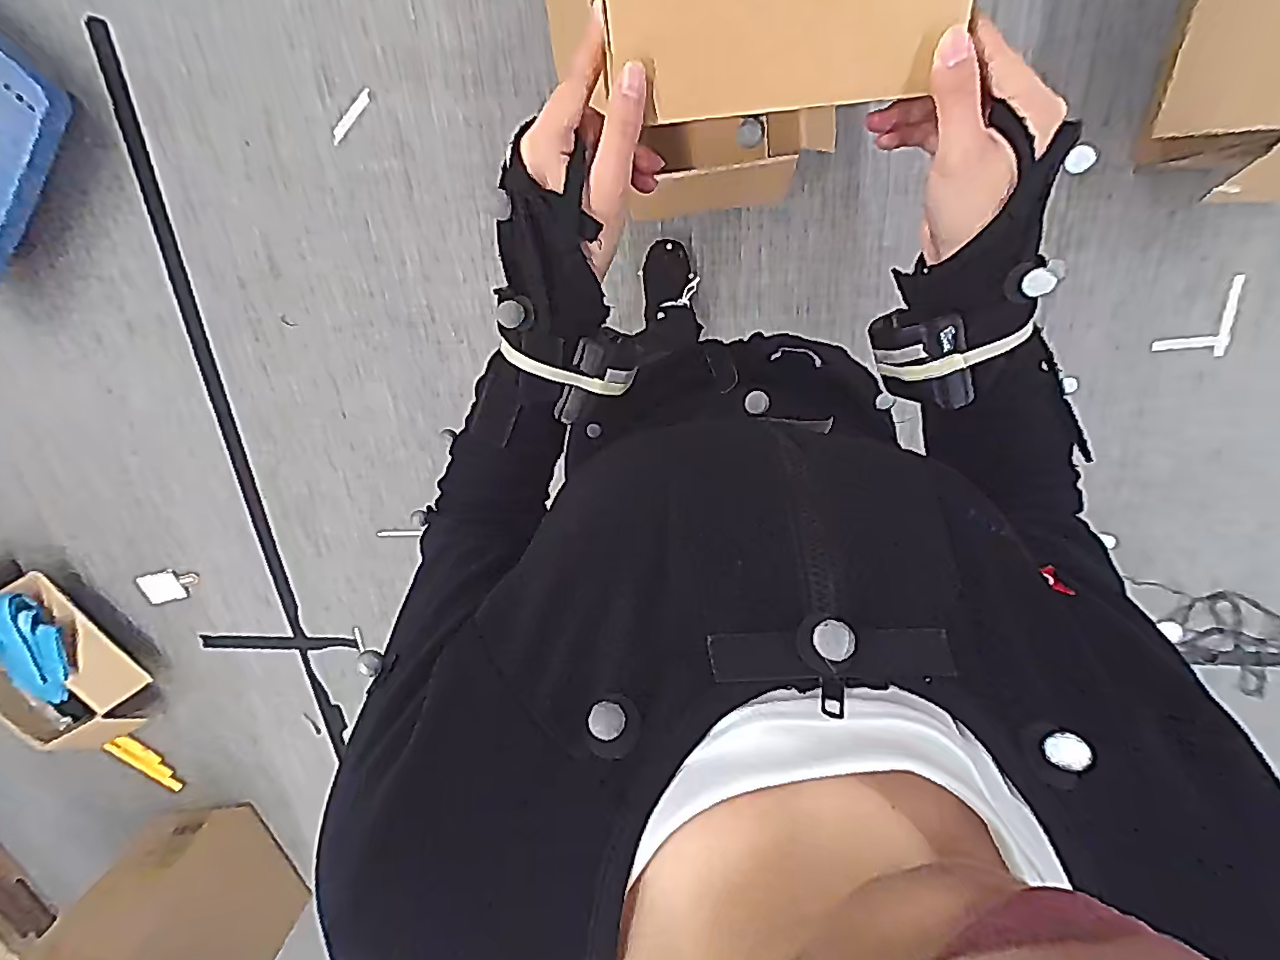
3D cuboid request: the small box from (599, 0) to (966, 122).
[{"bbox_3d":[0.063,-0.305,0.295,0.179,0.176,0.168,-4,125,3],"label":"small box"}]
